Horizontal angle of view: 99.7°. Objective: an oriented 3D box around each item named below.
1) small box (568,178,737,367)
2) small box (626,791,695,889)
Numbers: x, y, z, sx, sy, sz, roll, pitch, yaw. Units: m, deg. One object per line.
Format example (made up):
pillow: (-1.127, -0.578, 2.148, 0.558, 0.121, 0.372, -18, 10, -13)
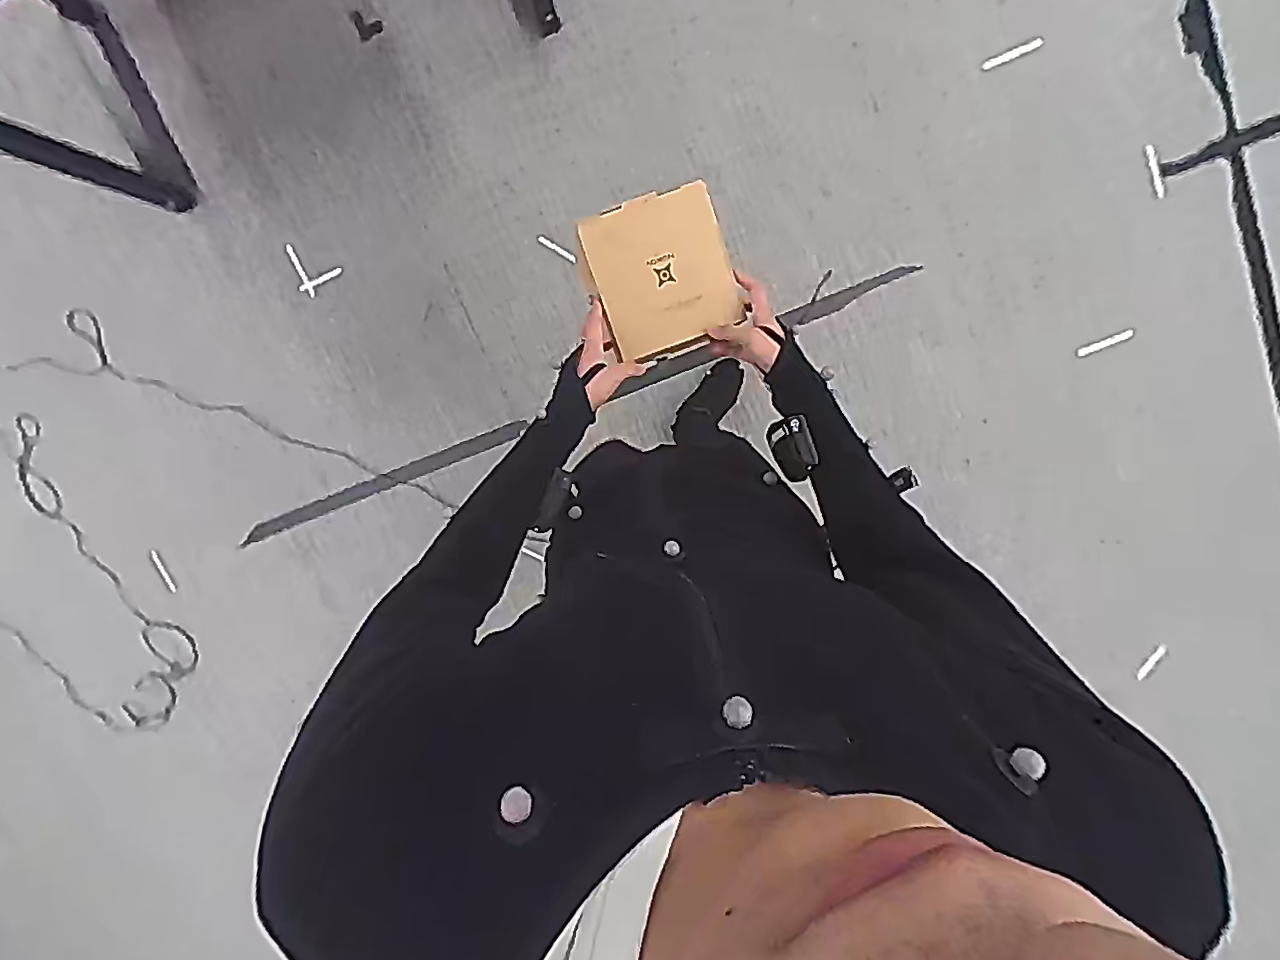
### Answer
small box: (0.008, -0.264, 0.729, 0.168, 0.176, 0.179, -21, 100, -3)
small box: (0.067, 1.144, 1.729, 0.168, 0.176, 0.179, -22, 97, 5)
